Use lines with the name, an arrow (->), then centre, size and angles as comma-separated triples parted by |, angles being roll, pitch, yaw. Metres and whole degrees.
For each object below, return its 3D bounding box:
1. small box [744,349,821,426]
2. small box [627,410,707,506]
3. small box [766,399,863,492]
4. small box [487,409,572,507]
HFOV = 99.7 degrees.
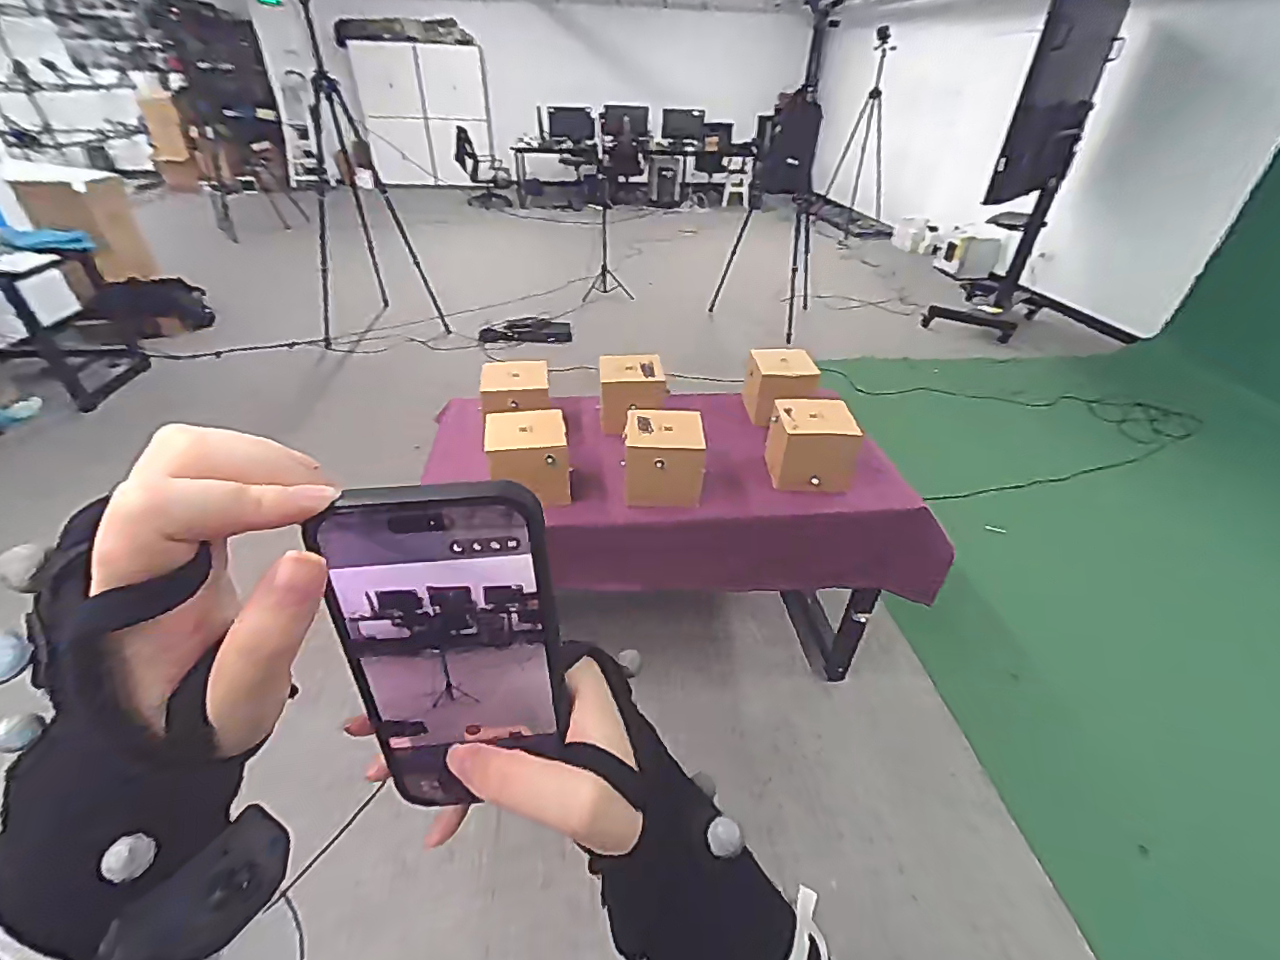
small box -> 0.411, -0.271, 1.592 | 0.168, 0.176, 0.179 | 0, 37, -2
small box -> 0.059, -0.051, 1.280 | 0.179, 0.176, 0.168 | 2, 37, -1
small box -> 0.423, -0.083, 1.341 | 0.179, 0.176, 0.168 | 3, 36, 0
small box -> -0.254, -0.050, 1.263 | 0.179, 0.176, 0.168 | -4, 37, -11
